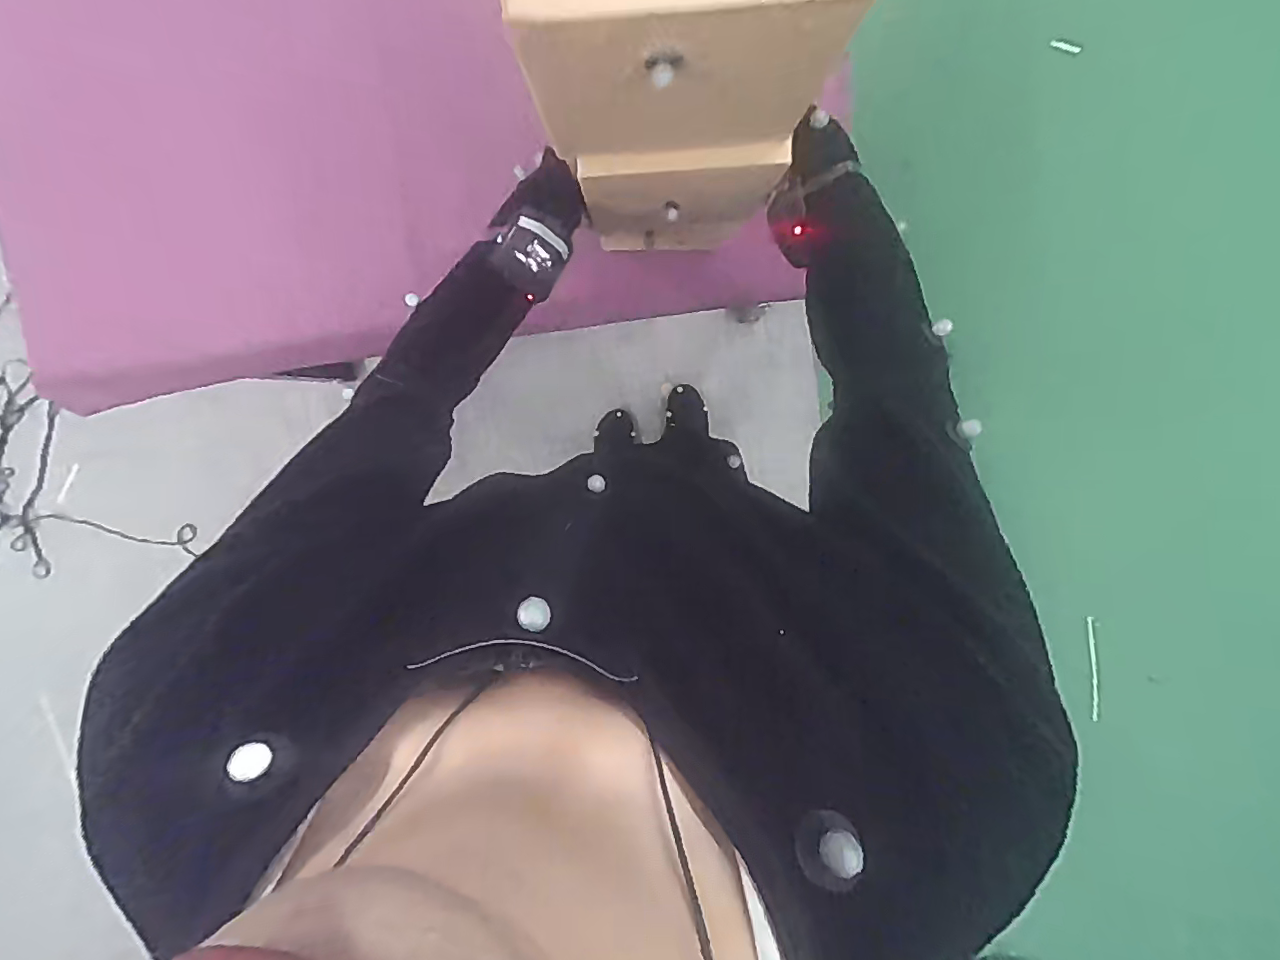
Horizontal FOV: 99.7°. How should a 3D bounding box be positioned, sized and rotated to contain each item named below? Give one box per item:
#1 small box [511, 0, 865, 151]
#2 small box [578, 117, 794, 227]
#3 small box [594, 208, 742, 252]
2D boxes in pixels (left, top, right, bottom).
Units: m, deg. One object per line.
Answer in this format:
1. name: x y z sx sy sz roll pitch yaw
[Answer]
1. small box: 0.023 -0.312 0.310 0.179 0.176 0.168 -4 101 0
2. small box: 0.033 -0.333 0.473 0.168 0.176 0.179 -3 100 0
3. small box: 0.035 -0.374 0.633 0.168 0.176 0.179 0 100 0
